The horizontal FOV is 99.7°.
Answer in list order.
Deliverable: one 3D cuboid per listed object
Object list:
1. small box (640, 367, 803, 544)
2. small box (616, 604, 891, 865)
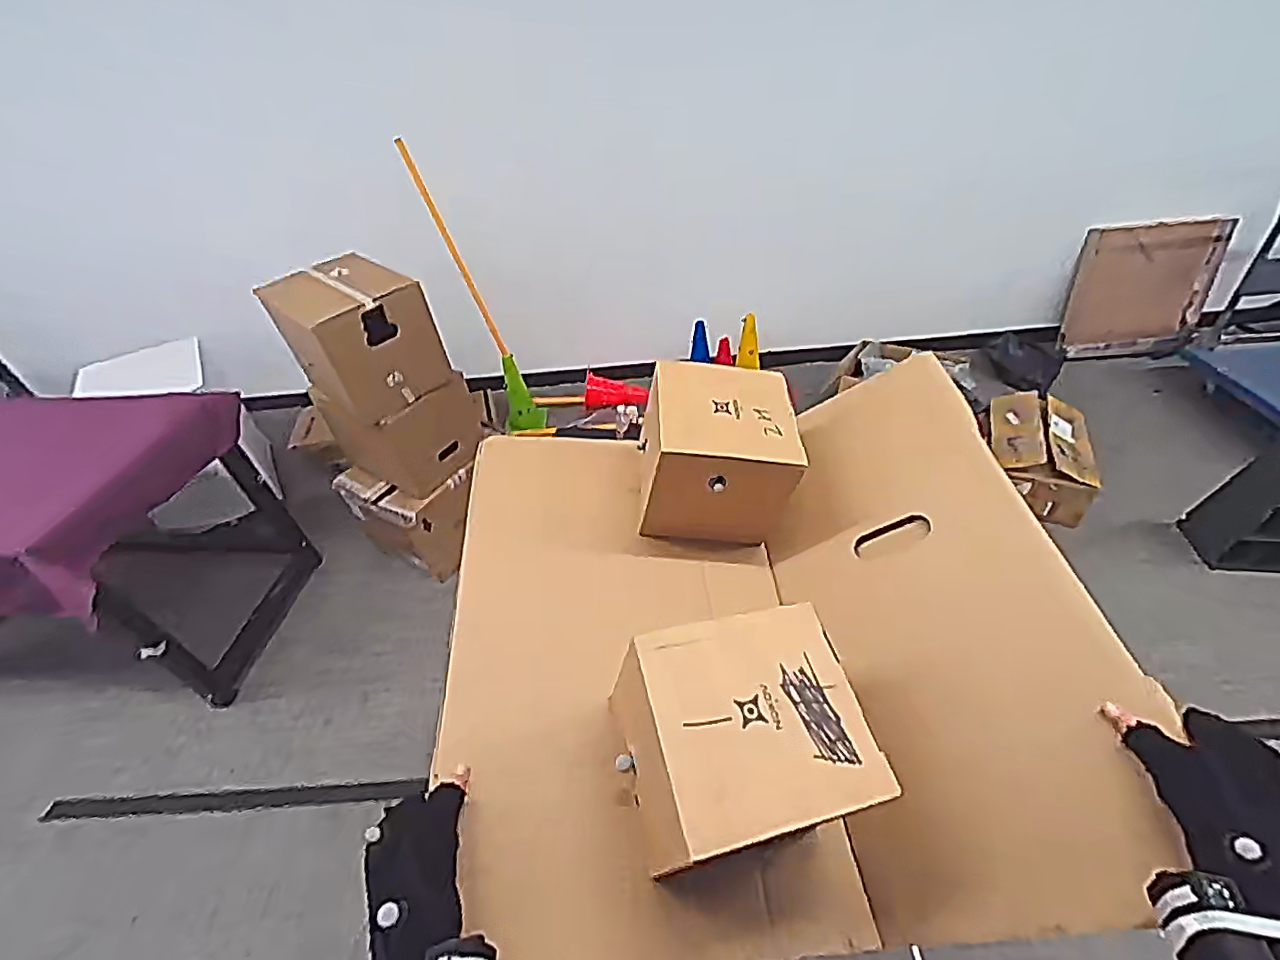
[{"bbox_3d":[0.096,-0.028,0.735,0.179,0.176,0.168,6,50,-7],"label":"small box"},{"bbox_3d":[0.085,0.238,0.508,0.179,0.176,0.168,-6,52,-15],"label":"small box"}]
